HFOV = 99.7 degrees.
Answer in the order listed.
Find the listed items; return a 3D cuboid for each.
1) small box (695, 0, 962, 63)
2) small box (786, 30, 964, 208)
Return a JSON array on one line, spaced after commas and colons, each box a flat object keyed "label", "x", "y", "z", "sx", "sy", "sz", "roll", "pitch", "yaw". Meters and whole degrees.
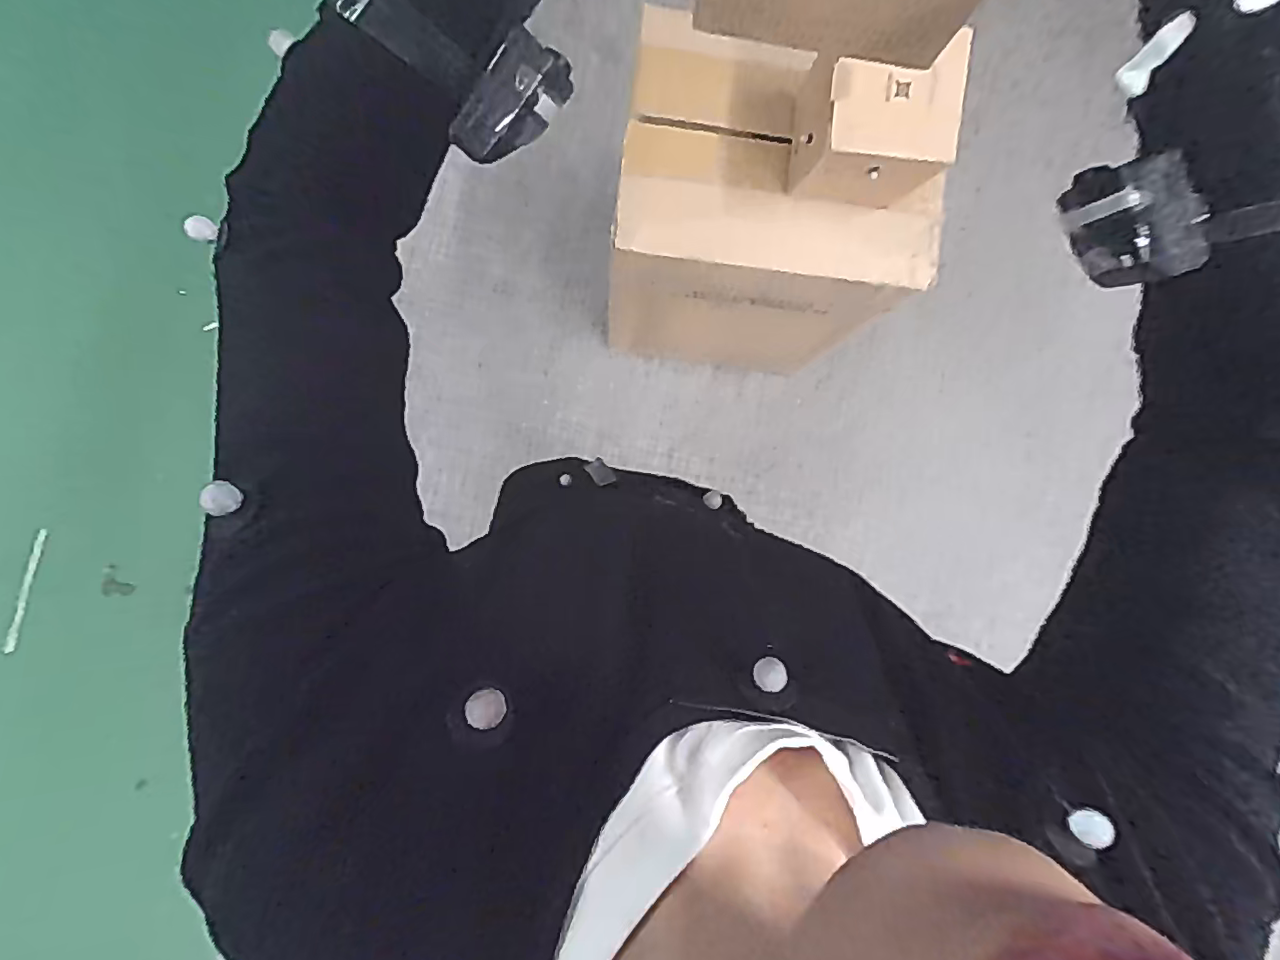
[{"label": "small box", "x": 0.134, "y": -0.387, "z": 0.309, "sx": 0.179, "sy": 0.176, "sz": 0.168, "roll": 8, "pitch": 91, "yaw": -3}, {"label": "small box", "x": 0.328, "y": -0.517, "z": 0.789, "sx": 0.179, "sy": 0.176, "sz": 0.168, "roll": 3, "pitch": 98, "yaw": -5}]
